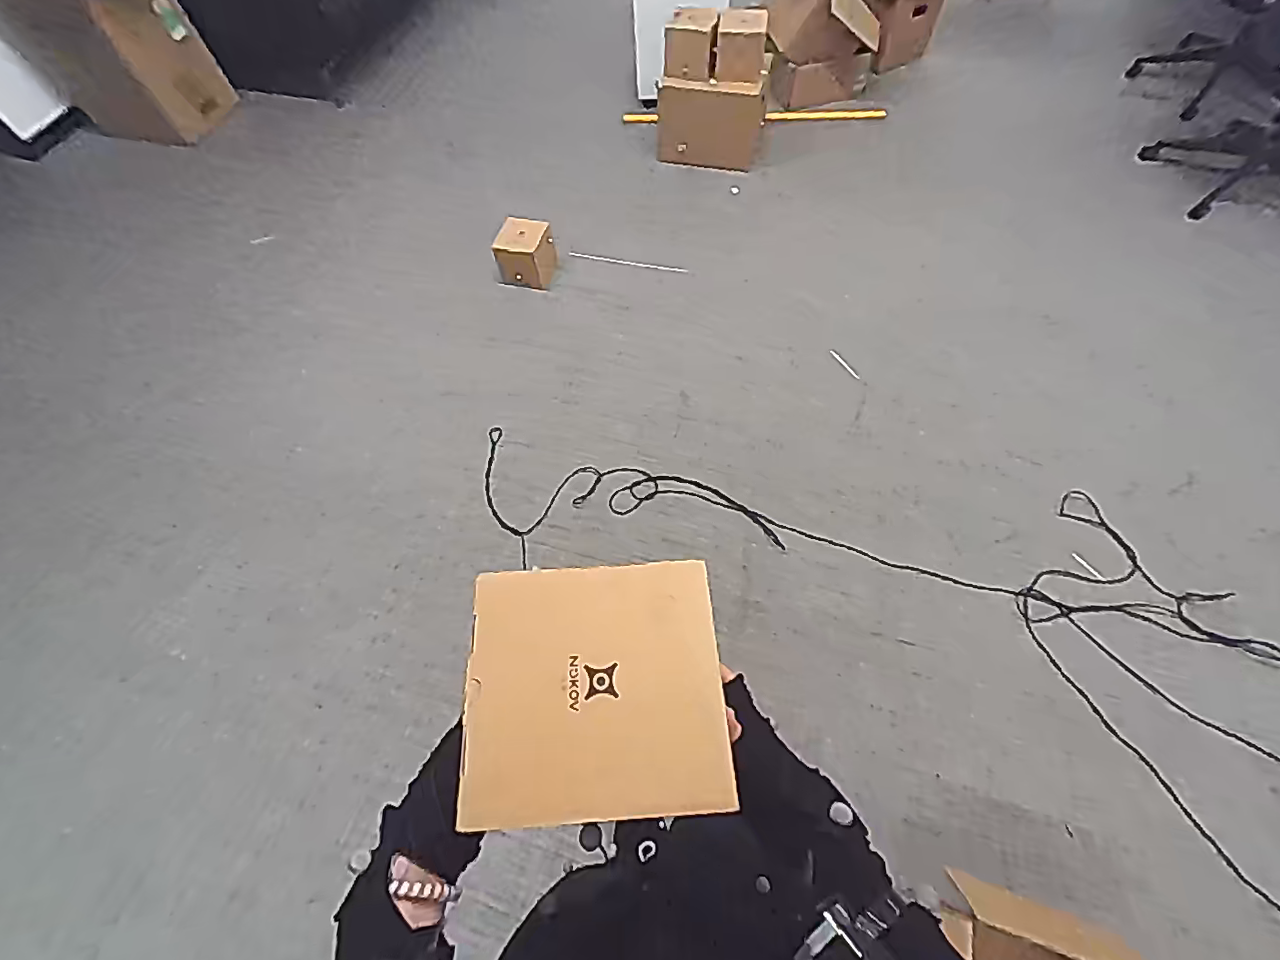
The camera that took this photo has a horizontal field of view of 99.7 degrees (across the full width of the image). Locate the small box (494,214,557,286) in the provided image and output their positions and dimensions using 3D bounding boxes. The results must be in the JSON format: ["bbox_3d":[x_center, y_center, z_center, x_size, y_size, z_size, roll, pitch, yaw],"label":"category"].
[{"bbox_3d":[-0.421,-0.859,2.023,0.168,0.176,0.179,12,63,10],"label":"small box"}]

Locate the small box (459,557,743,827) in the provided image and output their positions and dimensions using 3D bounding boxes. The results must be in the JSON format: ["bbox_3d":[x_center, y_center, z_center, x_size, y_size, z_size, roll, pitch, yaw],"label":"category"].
[{"bbox_3d":[-0.027,0.170,0.434,0.179,0.176,0.168,-4,62,-1],"label":"small box"}]
